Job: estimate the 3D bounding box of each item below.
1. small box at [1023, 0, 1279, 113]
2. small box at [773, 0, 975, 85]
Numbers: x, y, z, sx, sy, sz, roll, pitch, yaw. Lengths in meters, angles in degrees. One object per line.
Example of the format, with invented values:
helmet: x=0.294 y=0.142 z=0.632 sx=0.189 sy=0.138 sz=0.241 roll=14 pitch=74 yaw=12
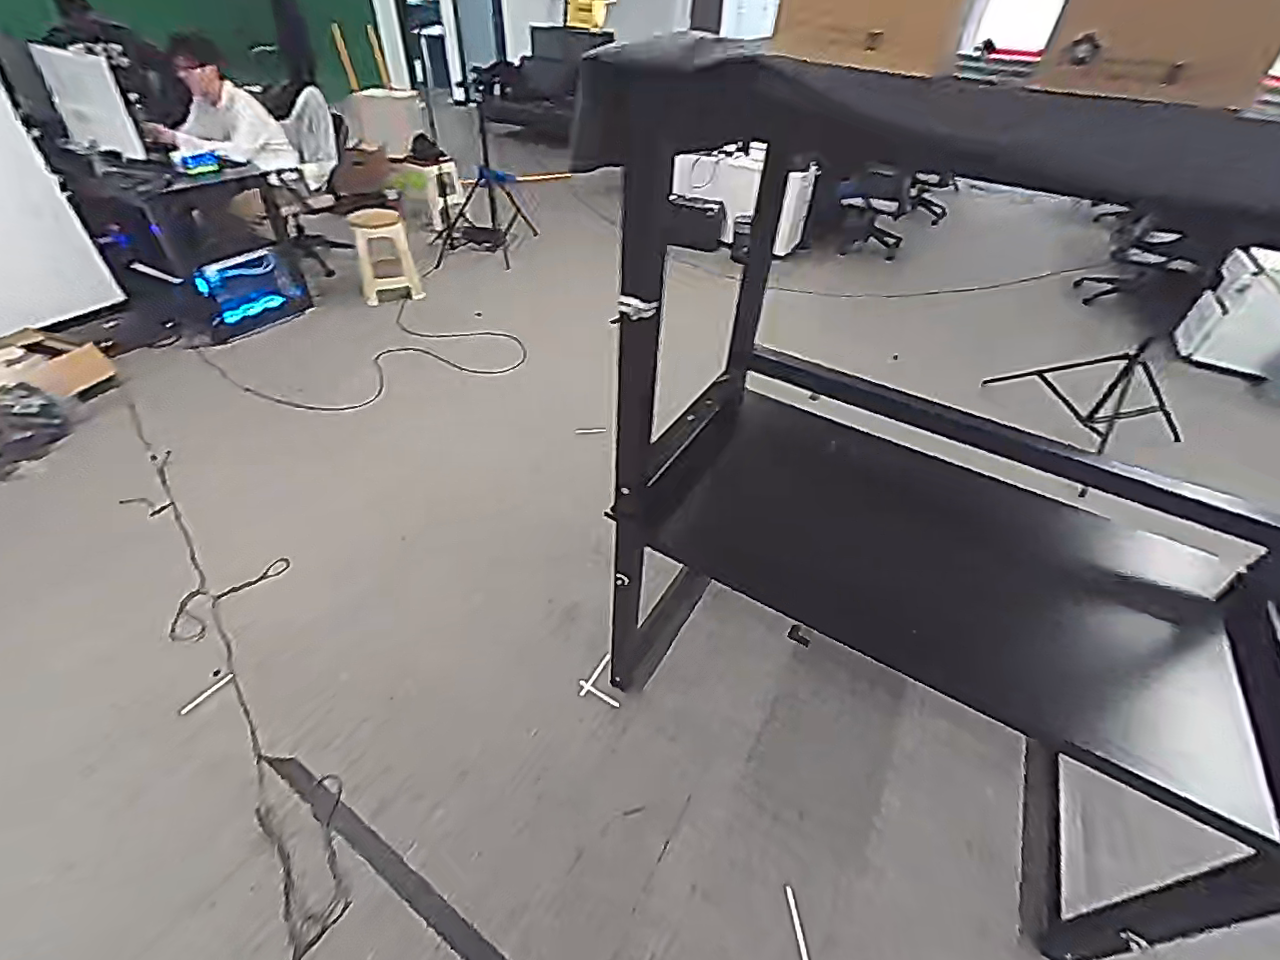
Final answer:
small box: x=0.468 y=-0.430 z=0.472 sx=0.168 sy=0.176 sz=0.179 roll=25 pitch=43 yaw=22
small box: x=0.247 y=-0.507 z=0.540 sx=0.168 sy=0.176 sz=0.179 roll=24 pitch=43 yaw=20
